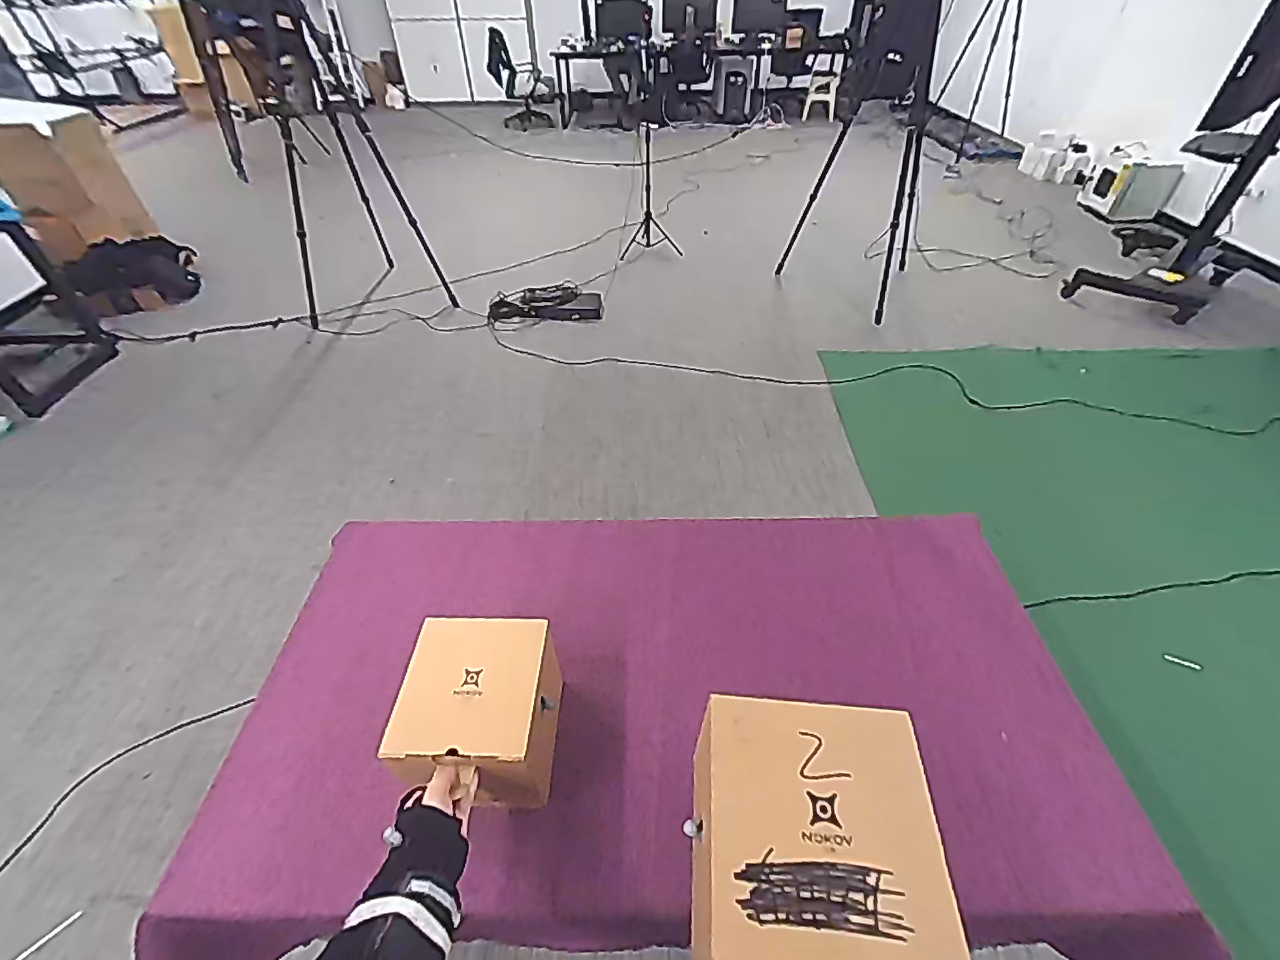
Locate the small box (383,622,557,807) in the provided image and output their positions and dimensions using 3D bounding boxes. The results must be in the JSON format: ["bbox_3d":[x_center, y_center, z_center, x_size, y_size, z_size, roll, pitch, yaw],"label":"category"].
[{"bbox_3d":[-0.207,0.311,0.721,0.168,0.176,0.179,1,44,1],"label":"small box"}]
